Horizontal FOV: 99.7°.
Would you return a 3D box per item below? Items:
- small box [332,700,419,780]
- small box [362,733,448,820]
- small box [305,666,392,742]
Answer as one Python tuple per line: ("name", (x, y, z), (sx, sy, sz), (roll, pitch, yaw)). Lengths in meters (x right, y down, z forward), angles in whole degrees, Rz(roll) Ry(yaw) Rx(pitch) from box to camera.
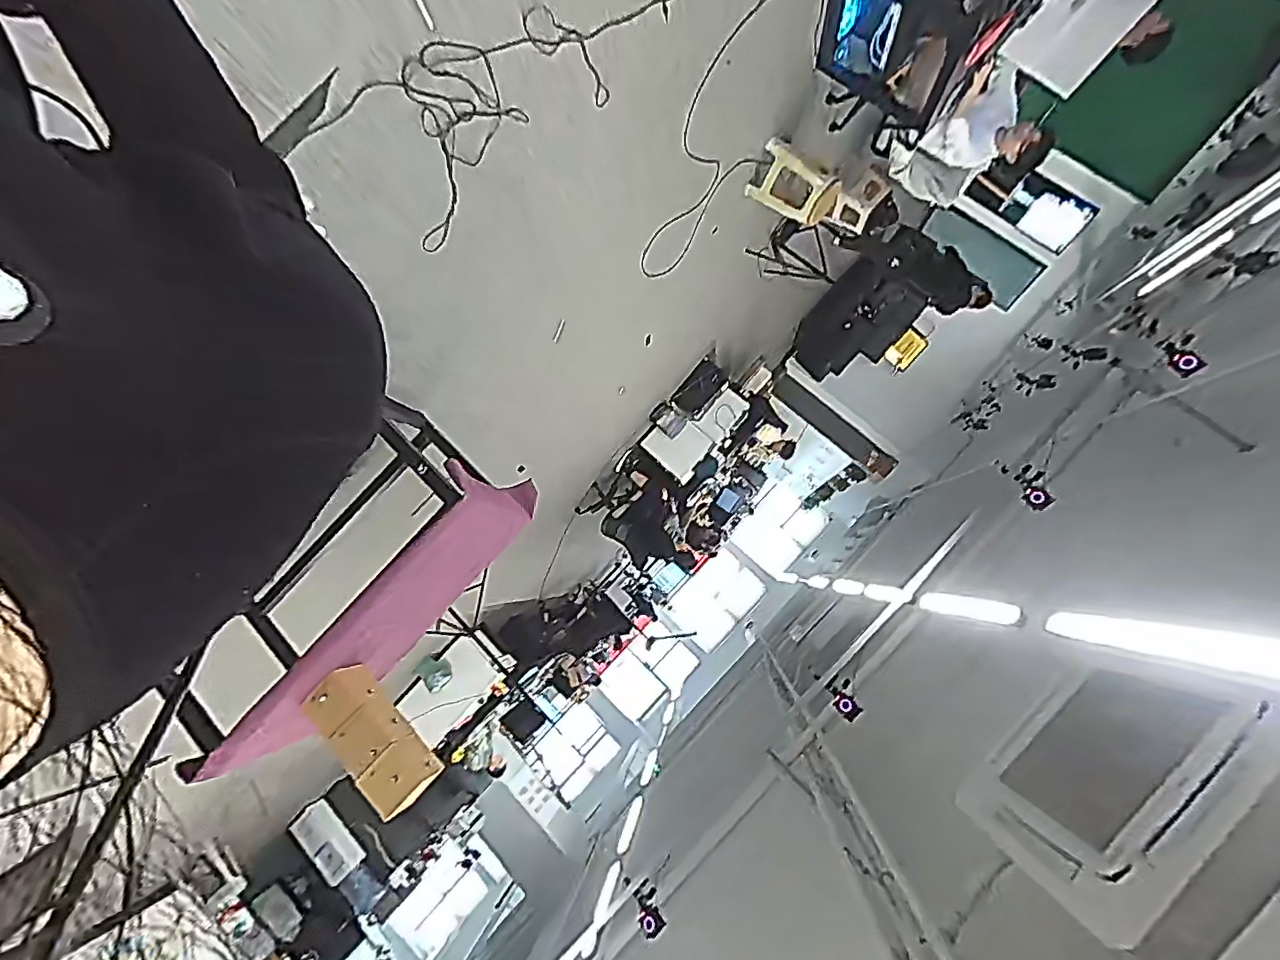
("small box", (-0.917, 0.892, 1.881), (0.168, 0.176, 0.179), (-47, 168, -7))
("small box", (-0.800, 0.999, 1.839), (0.168, 0.176, 0.179), (-47, 168, -6))
("small box", (-1.034, 0.785, 1.920), (0.168, 0.176, 0.179), (-47, 167, -4))
